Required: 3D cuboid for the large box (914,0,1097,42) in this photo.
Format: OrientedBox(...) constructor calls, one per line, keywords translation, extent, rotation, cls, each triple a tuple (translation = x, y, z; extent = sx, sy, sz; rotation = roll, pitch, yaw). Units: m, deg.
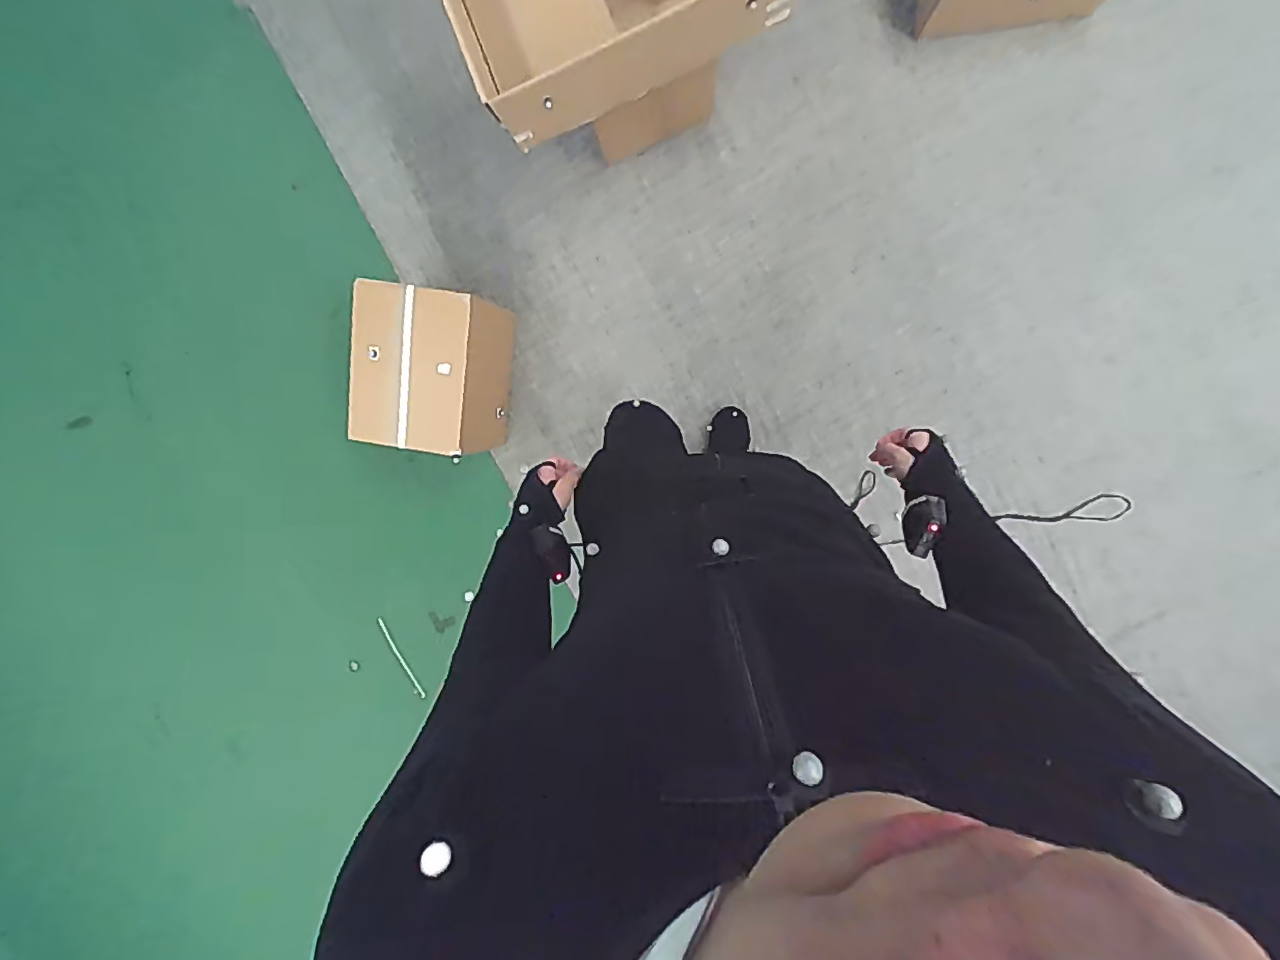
OrientedBox(translation=(0.860, -1.241, 1.173), extent=(0.408, 0.320, 0.320), rotation=(-3, 99, 9), cls="large box")
